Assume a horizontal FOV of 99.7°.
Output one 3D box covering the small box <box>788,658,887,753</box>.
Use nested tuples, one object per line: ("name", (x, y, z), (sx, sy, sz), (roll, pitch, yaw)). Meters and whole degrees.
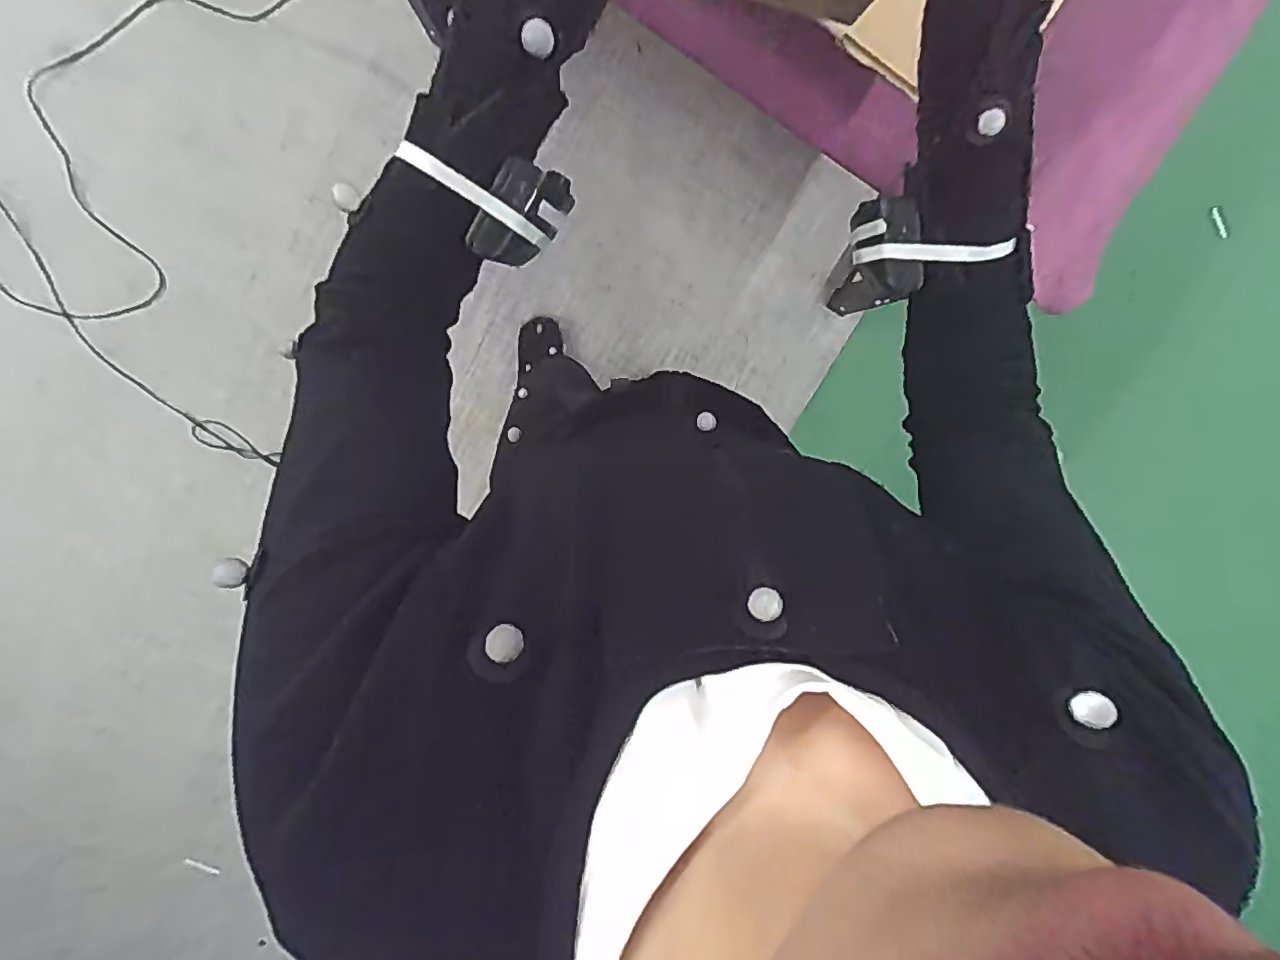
("small box", (0.555, 0.640, 1.550), (0.179, 0.176, 0.168), (32, 100, -8))

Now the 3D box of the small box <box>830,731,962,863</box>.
("small box", (0.571, 0.711, 1.230), (0.179, 0.176, 0.168), (30, 100, -8))
